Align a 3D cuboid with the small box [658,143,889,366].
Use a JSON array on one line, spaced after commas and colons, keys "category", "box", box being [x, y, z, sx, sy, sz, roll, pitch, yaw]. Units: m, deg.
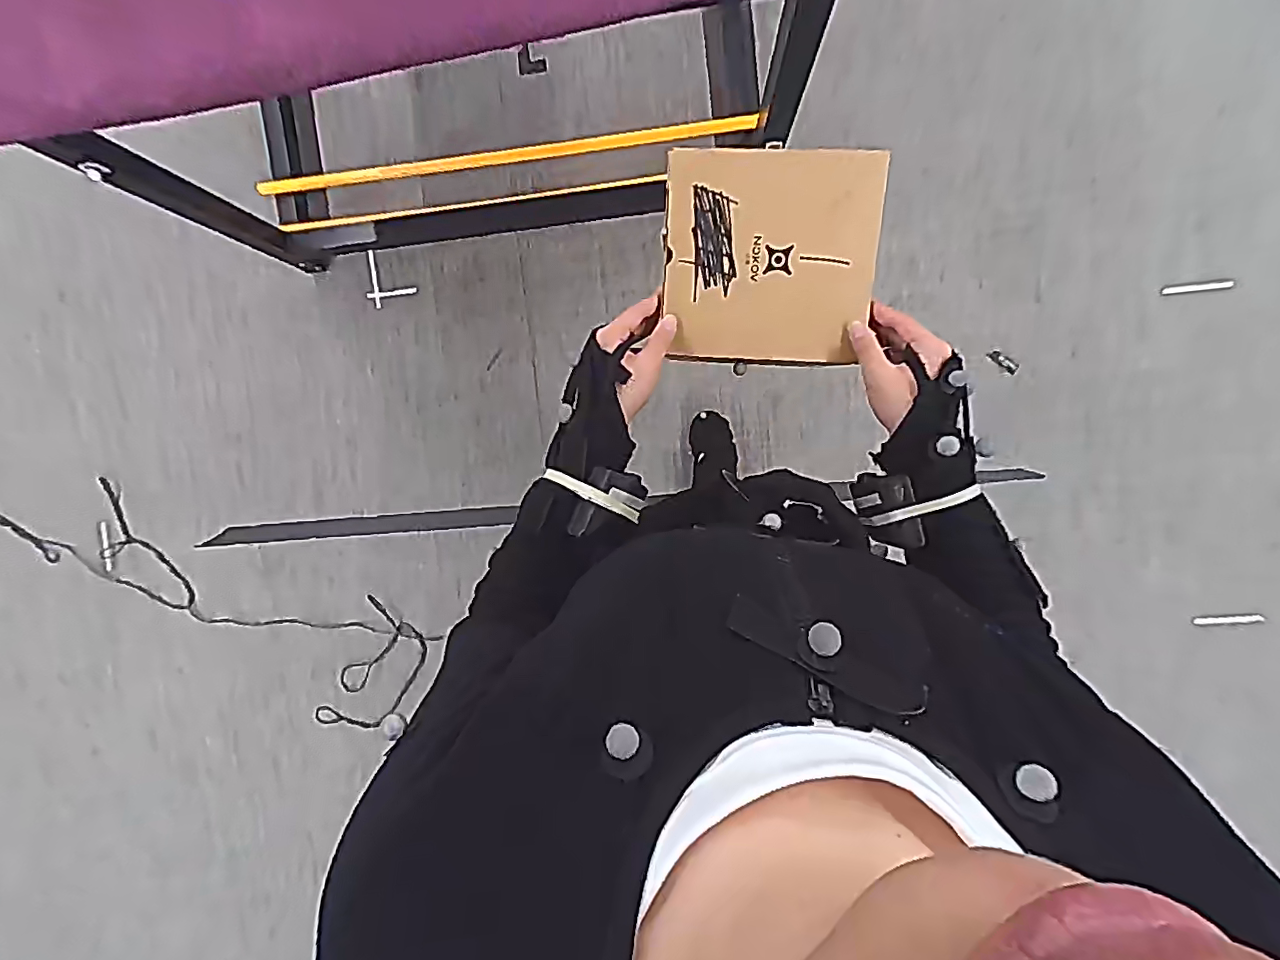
[{"category": "small box", "box": [0.114, -0.201, 0.525, 0.179, 0.176, 0.168, 4, 100, 4]}]
